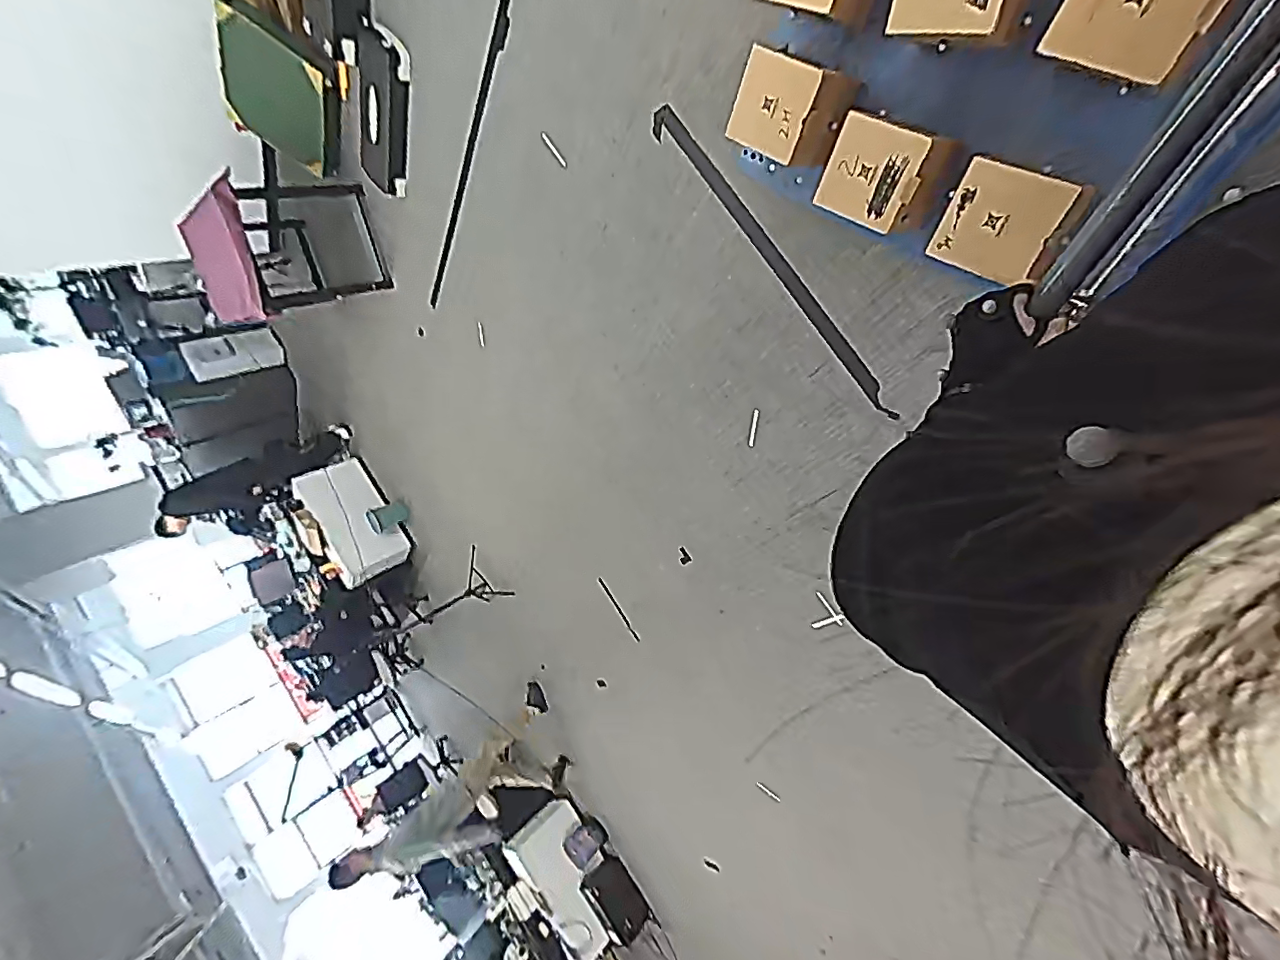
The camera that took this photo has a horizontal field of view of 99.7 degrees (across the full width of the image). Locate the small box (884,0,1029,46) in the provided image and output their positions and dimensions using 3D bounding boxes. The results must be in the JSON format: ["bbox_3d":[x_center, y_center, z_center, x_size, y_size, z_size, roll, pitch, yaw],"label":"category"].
[{"bbox_3d":[0.540,-0.826,0.884,0.179,0.176,0.168,30,132,32],"label":"small box"}]

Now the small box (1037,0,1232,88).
[{"bbox_3d":[0.727,-0.685,0.774,0.179,0.176,0.168,40,136,23],"label":"small box"}]

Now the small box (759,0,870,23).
[{"bbox_3d":[0.344,-0.974,1.002,0.179,0.176,0.168,37,135,25],"label":"small box"}]

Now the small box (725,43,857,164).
[{"bbox_3d":[0.316,-0.786,1.140,0.179,0.176,0.168,40,137,21],"label":"small box"}]

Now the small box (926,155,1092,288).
[{"bbox_3d":[0.662,-0.468,0.969,0.179,0.176,0.168,37,134,25],"label":"small box"}]
